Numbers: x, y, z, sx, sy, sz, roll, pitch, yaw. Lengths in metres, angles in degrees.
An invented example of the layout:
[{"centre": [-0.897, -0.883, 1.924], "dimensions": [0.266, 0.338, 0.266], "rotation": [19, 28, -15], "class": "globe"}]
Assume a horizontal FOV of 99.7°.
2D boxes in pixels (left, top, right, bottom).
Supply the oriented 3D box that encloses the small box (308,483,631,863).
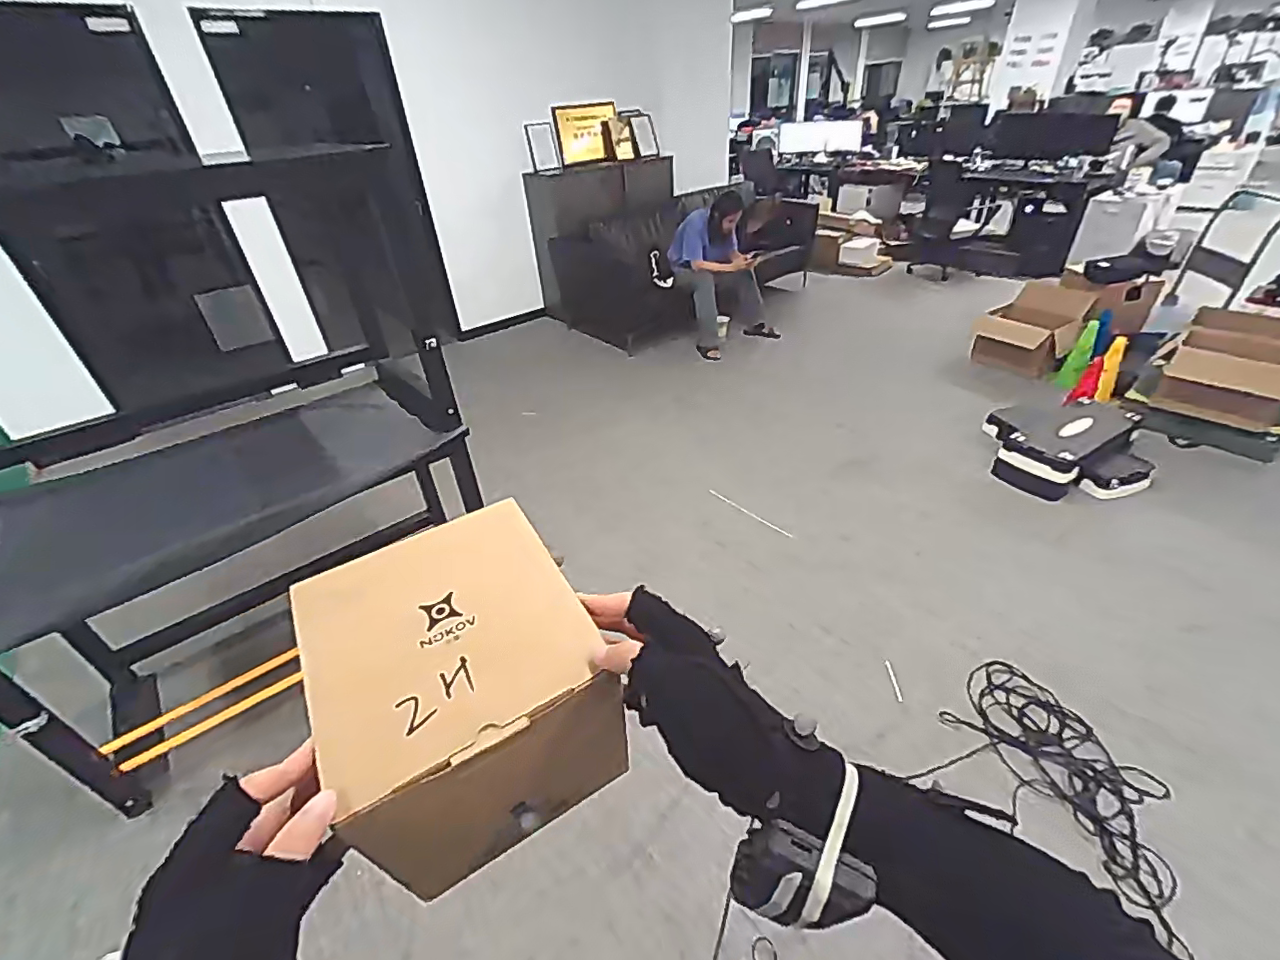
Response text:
[{"centre": [-0.119, 0.137, 0.408], "dimensions": [0.168, 0.176, 0.179], "rotation": [-24, 46, -22], "class": "small box"}]
